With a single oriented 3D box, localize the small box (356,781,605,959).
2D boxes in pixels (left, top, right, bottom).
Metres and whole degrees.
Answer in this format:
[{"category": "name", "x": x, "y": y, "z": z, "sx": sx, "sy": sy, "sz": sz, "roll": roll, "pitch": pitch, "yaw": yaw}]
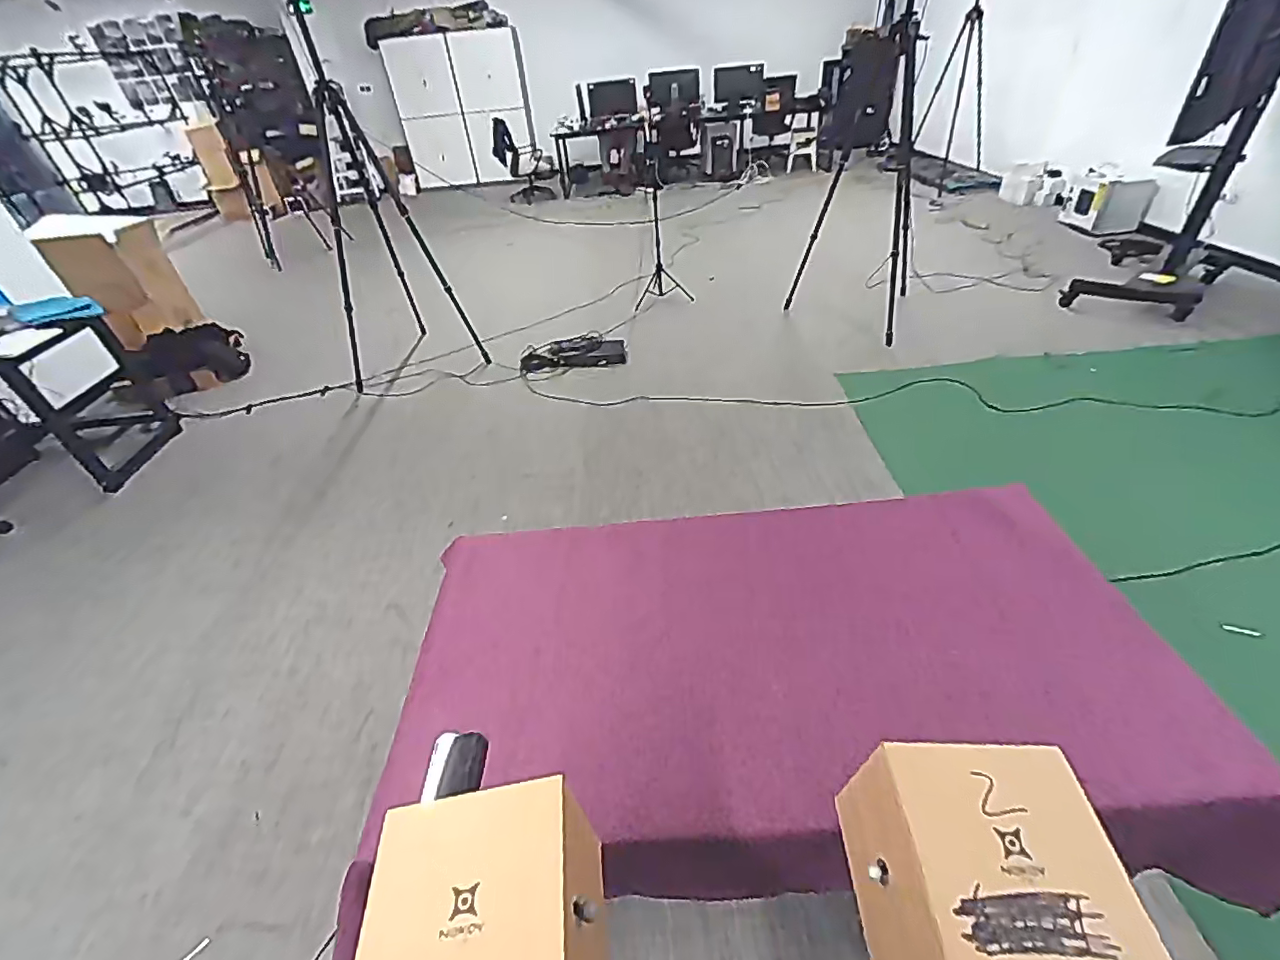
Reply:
[{"category": "small box", "x": -0.126, "y": 0.401, "z": 0.473, "sx": 0.168, "sy": 0.176, "sz": 0.179, "roll": -11, "pitch": 40, "yaw": 0}]
